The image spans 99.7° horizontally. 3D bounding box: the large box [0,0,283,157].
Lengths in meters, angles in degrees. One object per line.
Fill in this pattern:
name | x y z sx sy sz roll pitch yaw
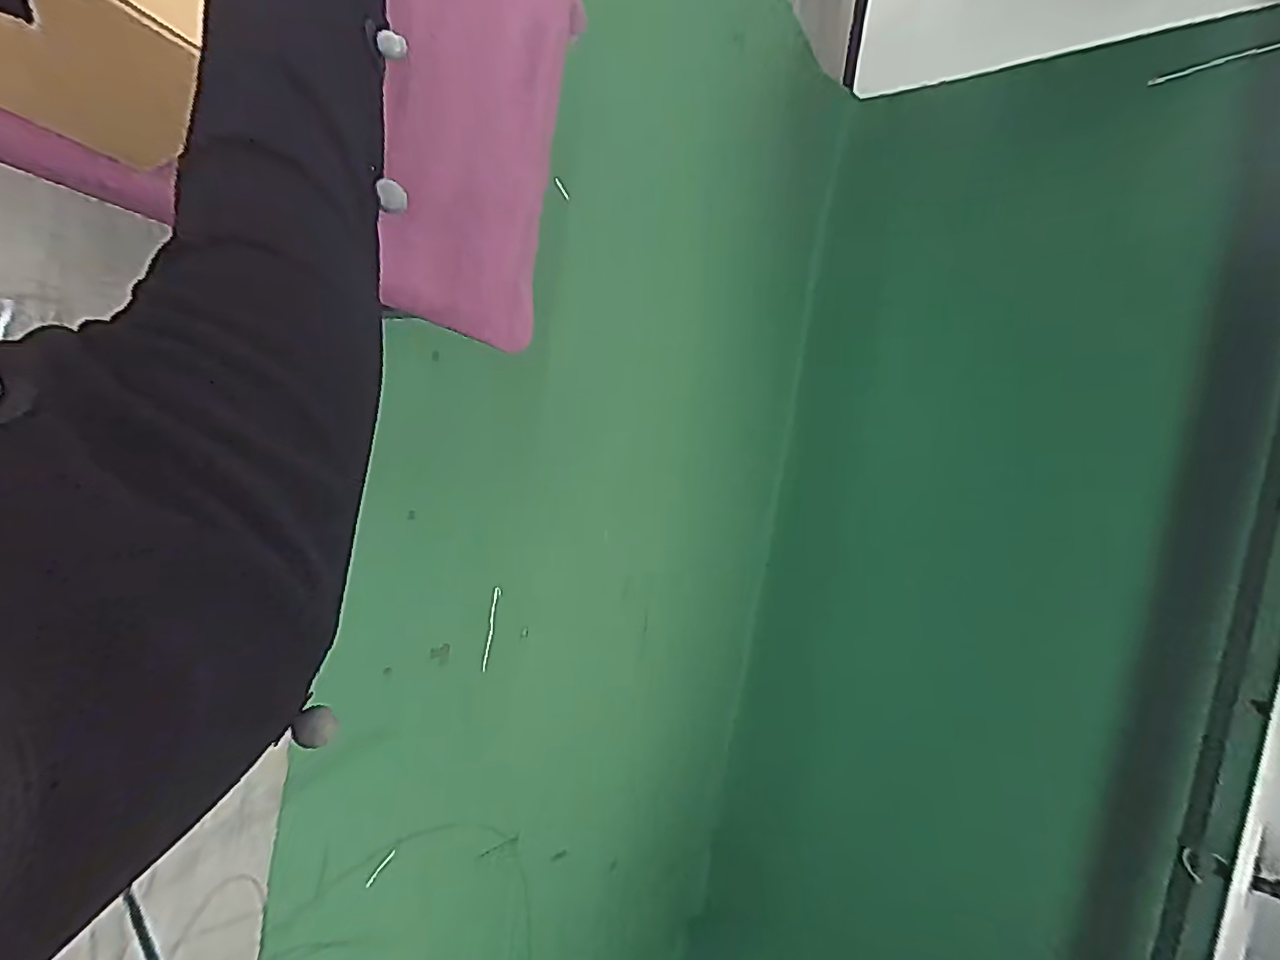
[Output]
large box | -0.449 -0.521 0.361 0.320 0.320 0.408 11 90 -55
